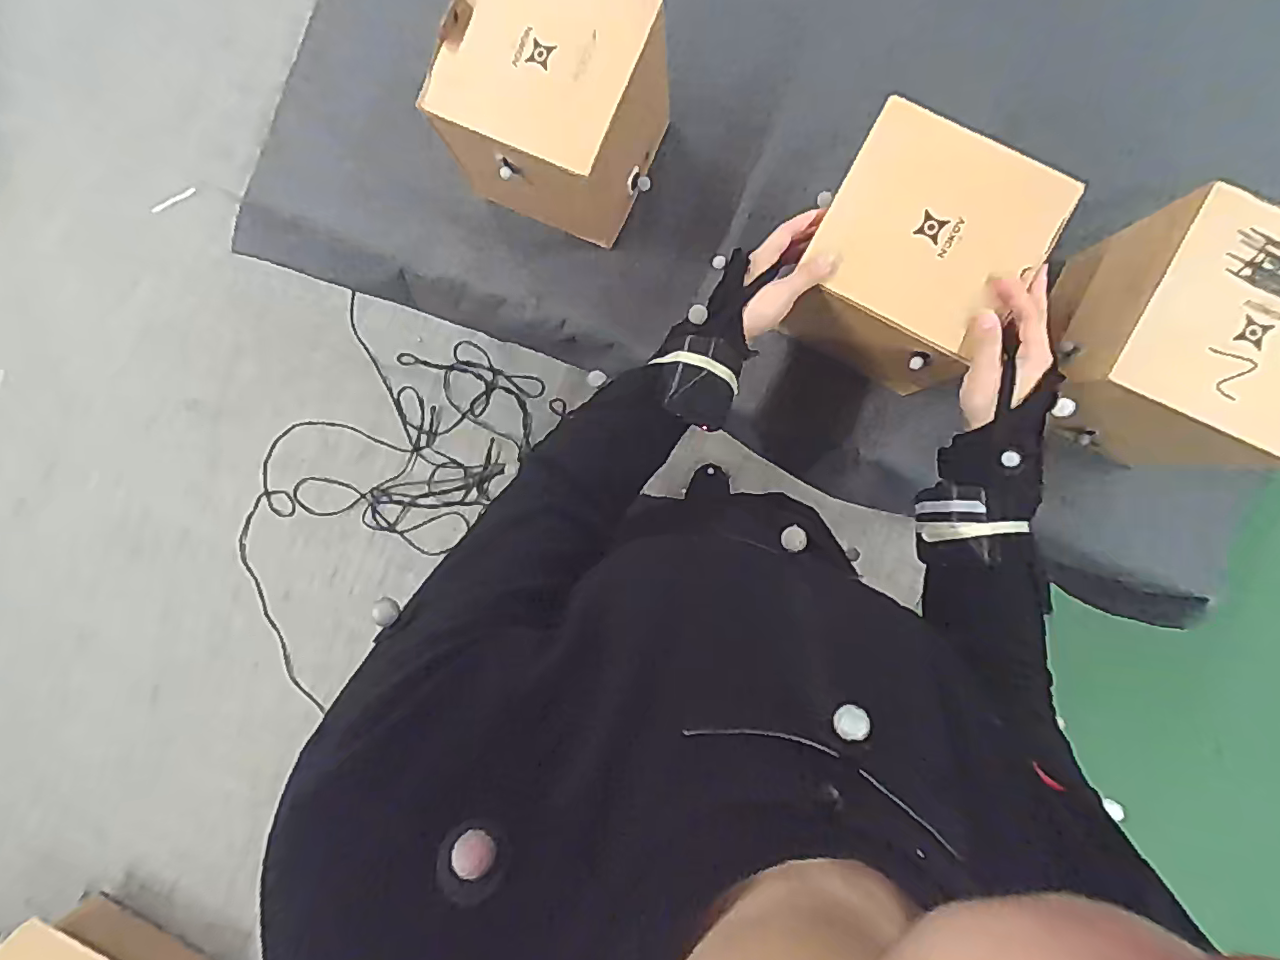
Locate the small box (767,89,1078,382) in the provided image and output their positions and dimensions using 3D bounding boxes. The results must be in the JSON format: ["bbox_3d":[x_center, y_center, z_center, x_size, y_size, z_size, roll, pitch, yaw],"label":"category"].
[{"bbox_3d":[0.242,-0.210,0.519,0.179,0.176,0.168,29,93,3],"label":"small box"}]

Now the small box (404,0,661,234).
[{"bbox_3d":[-0.091,-0.379,0.542,0.179,0.176,0.168,24,94,3],"label":"small box"}]
